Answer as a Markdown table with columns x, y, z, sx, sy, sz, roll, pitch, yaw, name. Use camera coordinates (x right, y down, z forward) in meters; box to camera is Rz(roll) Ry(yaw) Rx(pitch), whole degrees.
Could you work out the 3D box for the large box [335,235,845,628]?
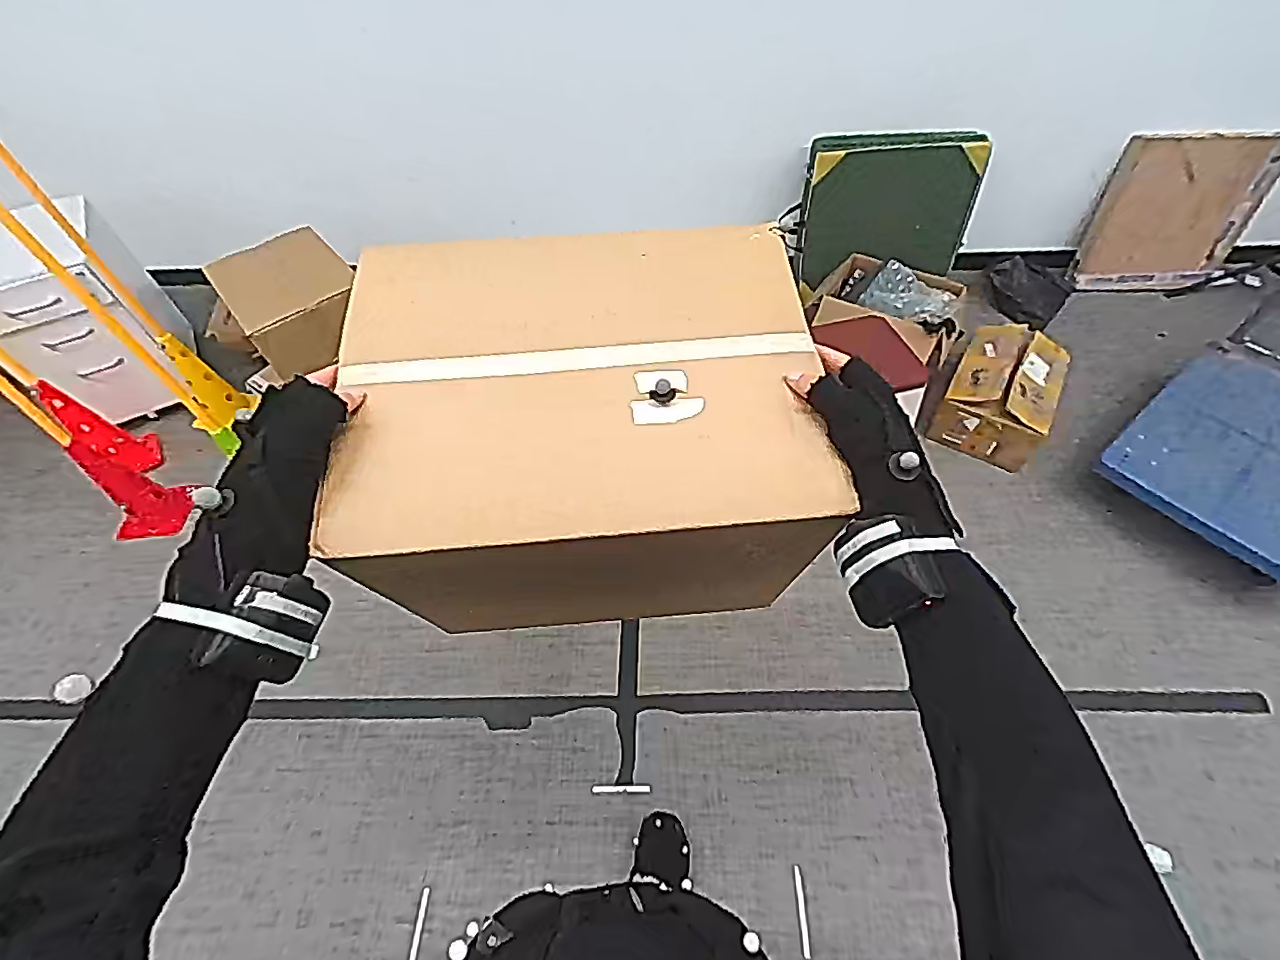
| x | y | z | sx | sy | sz | roll | pitch | yaw | name |
| --- | --- | --- | --- | --- | --- | --- | --- | --- | --- |
| -0.050 | -0.033 | 0.612 | 0.408 | 0.320 | 0.320 | -4 | 65 | -3 | large box |
